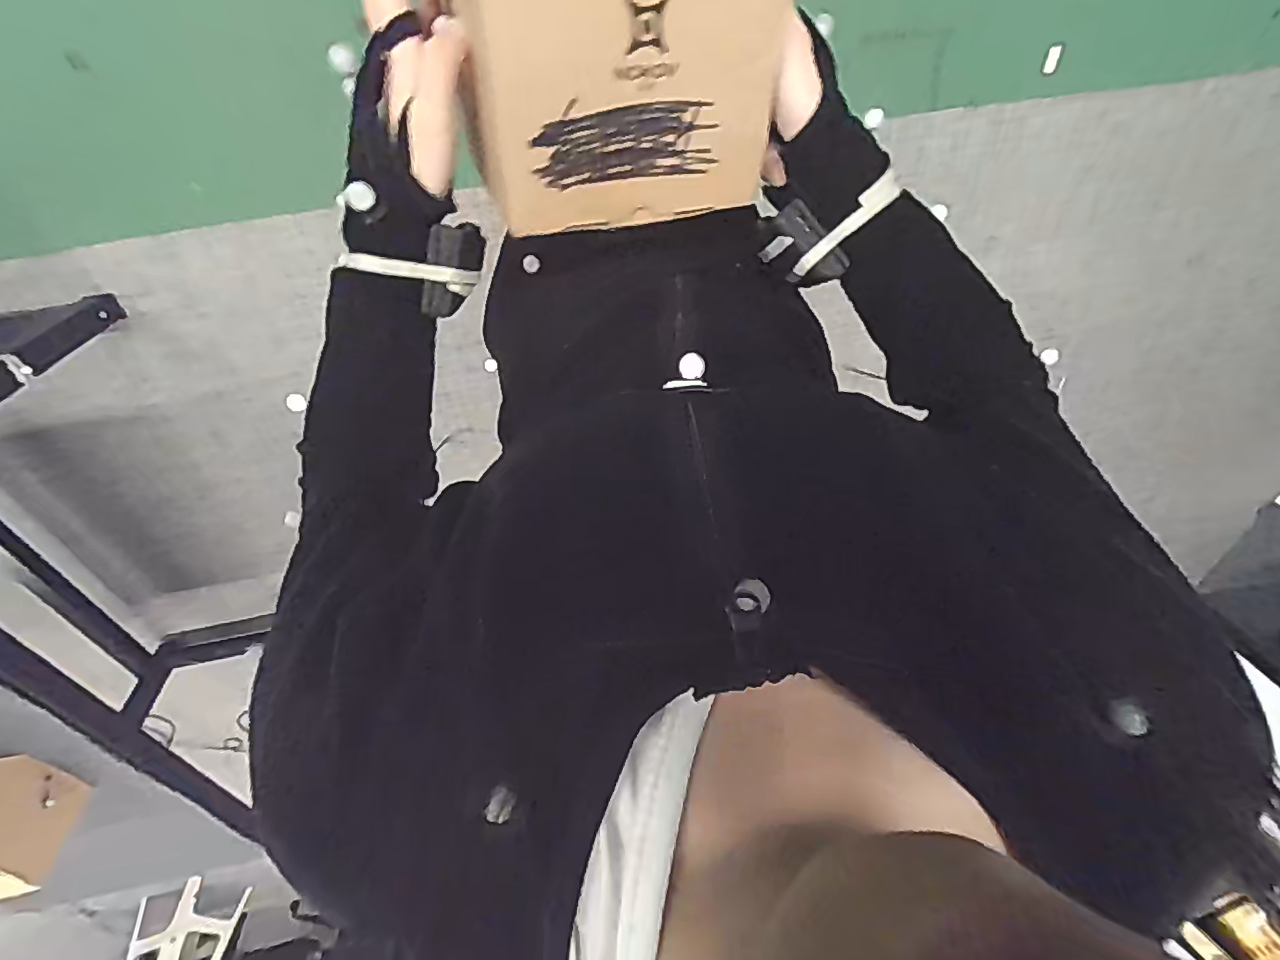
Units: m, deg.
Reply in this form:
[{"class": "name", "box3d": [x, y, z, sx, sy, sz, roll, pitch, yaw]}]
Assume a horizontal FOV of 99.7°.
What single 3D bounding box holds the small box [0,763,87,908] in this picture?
[{"class": "small box", "box3d": [-1.141, 0.619, 0.931, 0.179, 0.176, 0.168, -11, 130, -4]}]
